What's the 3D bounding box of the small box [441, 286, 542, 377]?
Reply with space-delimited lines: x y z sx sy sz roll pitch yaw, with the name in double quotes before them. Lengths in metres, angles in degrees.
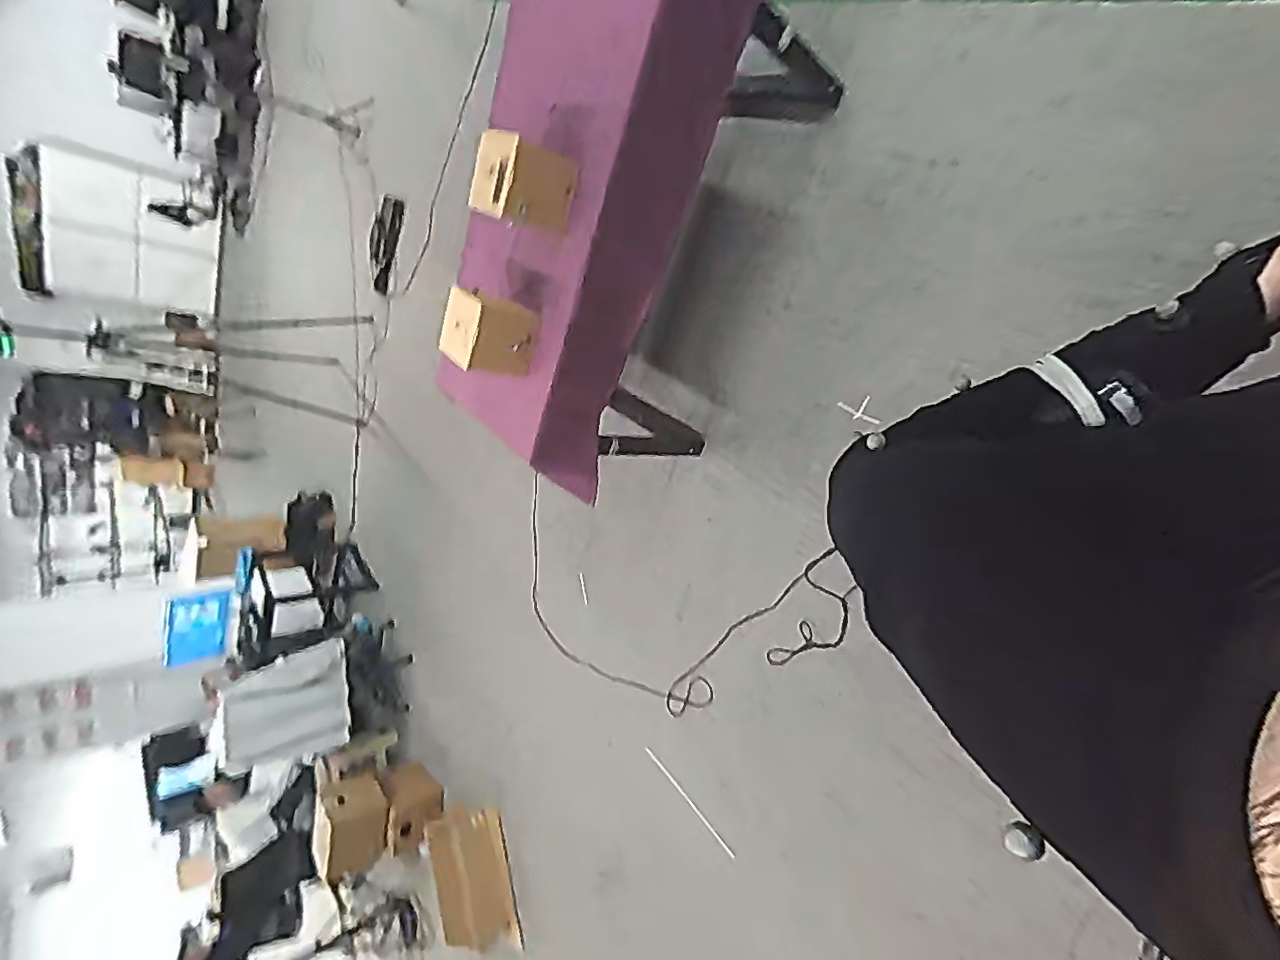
"small box" -0.380 -0.376 1.387 0.179 0.176 0.168 38 116 37
